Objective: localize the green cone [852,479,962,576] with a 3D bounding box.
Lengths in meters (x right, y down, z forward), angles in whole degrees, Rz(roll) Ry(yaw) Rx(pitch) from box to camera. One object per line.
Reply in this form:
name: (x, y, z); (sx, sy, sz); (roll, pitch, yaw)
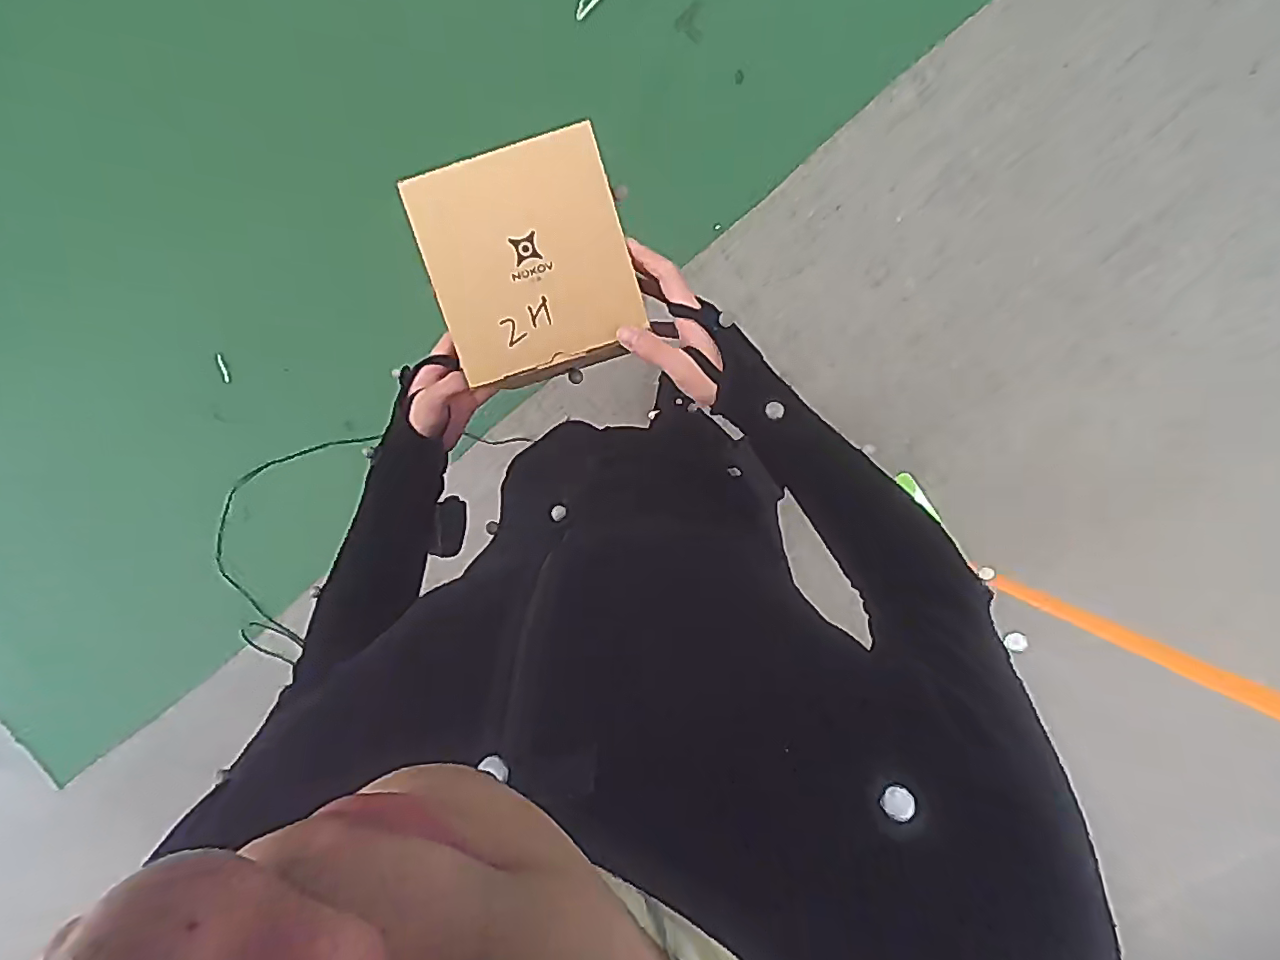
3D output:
green cone: (0.722, 0.155, 1.381); (0.202, 0.368, 0.200); (-37, 96, 12)
